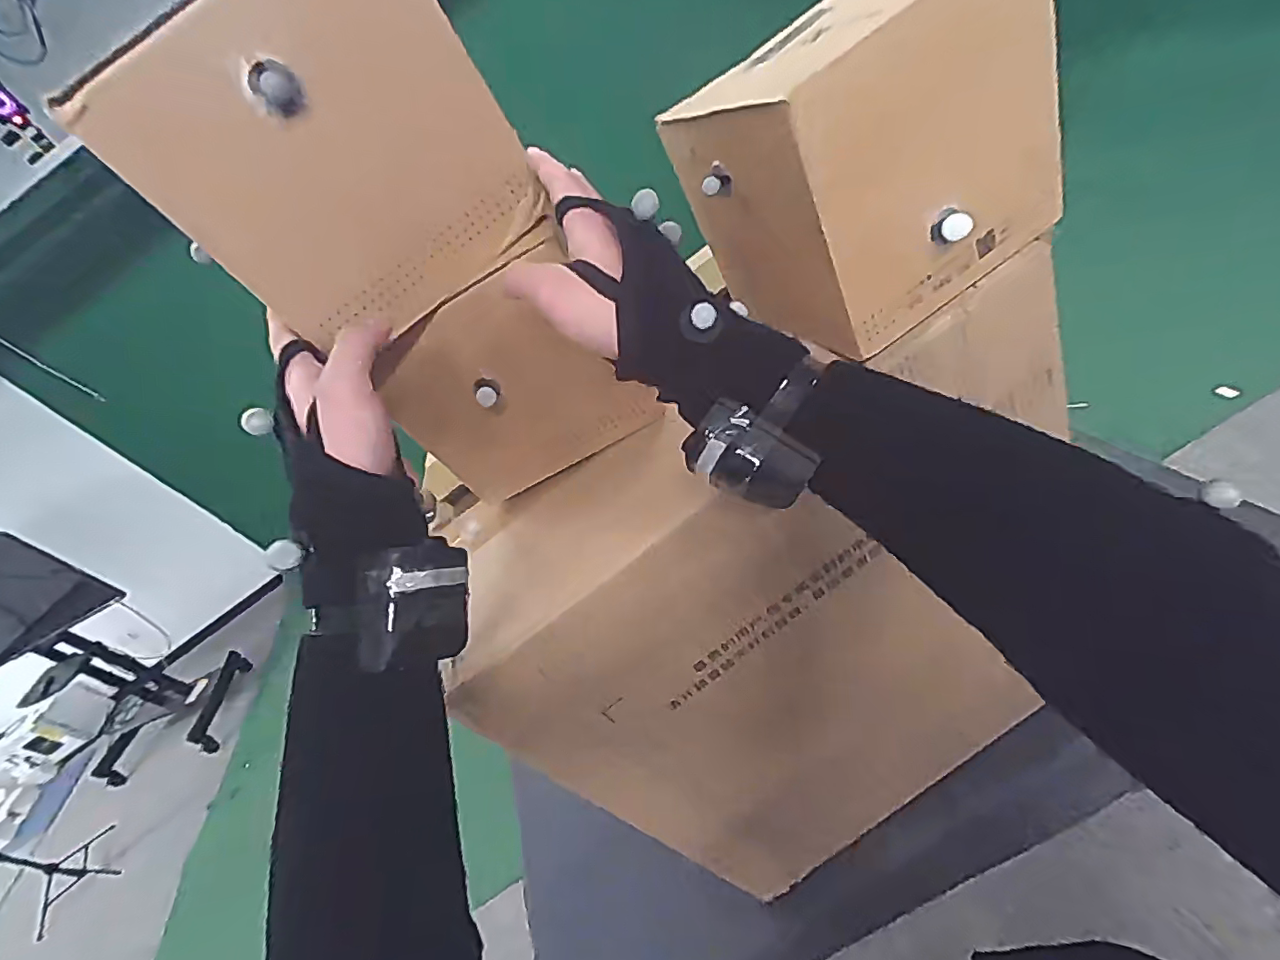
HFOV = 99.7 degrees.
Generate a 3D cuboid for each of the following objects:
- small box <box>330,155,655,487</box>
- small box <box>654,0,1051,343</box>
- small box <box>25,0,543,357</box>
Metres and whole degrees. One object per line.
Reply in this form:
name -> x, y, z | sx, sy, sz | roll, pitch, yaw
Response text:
small box -> -0.111, -0.123, 0.454 | 0.179, 0.176, 0.168 | -27, 45, 12
small box -> 0.140, -0.222, 0.376 | 0.168, 0.176, 0.179 | -36, 37, 1
small box -> -0.195, -0.210, 0.344 | 0.179, 0.176, 0.168 | -39, 44, -4
